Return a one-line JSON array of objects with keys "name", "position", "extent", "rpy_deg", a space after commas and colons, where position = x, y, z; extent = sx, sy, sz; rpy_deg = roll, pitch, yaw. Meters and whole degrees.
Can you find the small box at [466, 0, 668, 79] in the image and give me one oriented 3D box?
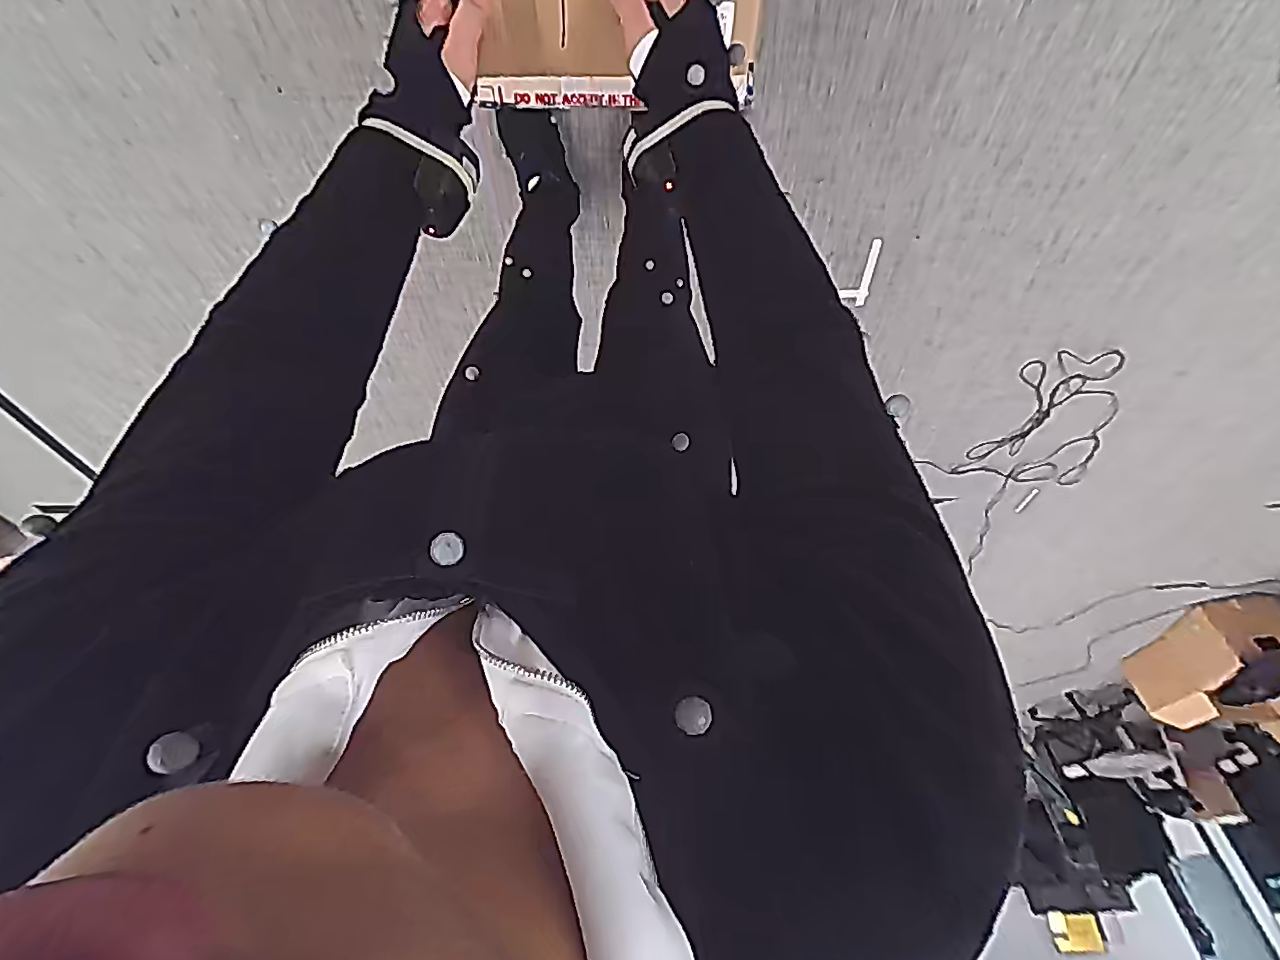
[{"name": "small box", "position": [-0.061, -0.472, 0.460], "extent": [0.168, 0.176, 0.179], "rpy_deg": [0, 141, -1]}]
